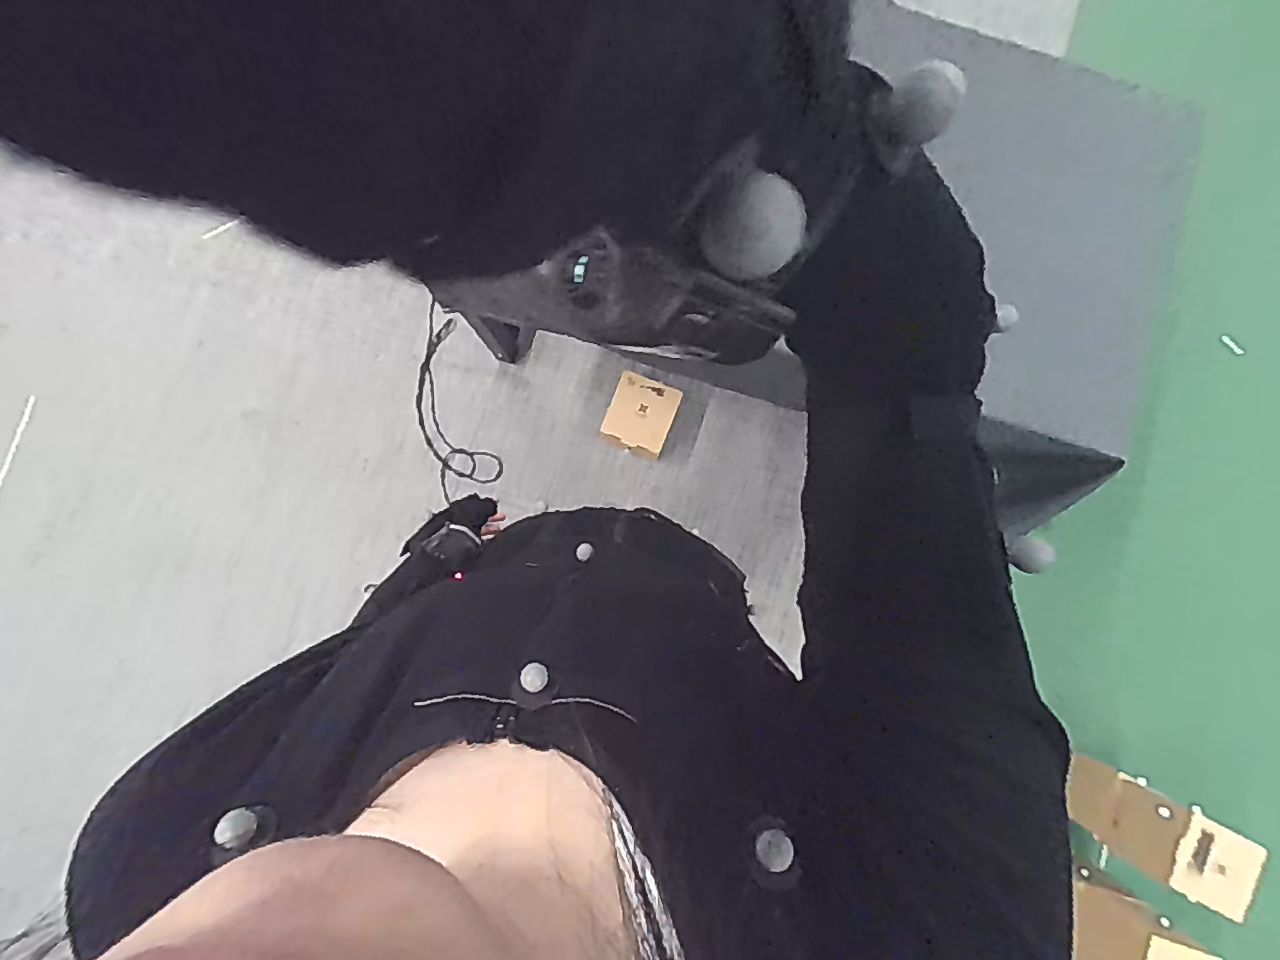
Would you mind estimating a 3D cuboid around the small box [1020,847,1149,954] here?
[{"bbox_3d":[1.108,1.067,1.361,0.179,0.176,0.168,16,84,-1],"label":"small box"}]

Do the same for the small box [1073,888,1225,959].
[{"bbox_3d":[1.115,1.060,1.198,0.168,0.176,0.179,19,85,0],"label":"small box"}]

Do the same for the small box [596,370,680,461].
[{"bbox_3d":[-0.004,-0.162,1.436,0.168,0.176,0.179,22,85,1],"label":"small box"}]

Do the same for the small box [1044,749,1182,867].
[{"bbox_3d":[1.203,0.828,1.386,0.179,0.176,0.168,28,84,2],"label":"small box"}]
